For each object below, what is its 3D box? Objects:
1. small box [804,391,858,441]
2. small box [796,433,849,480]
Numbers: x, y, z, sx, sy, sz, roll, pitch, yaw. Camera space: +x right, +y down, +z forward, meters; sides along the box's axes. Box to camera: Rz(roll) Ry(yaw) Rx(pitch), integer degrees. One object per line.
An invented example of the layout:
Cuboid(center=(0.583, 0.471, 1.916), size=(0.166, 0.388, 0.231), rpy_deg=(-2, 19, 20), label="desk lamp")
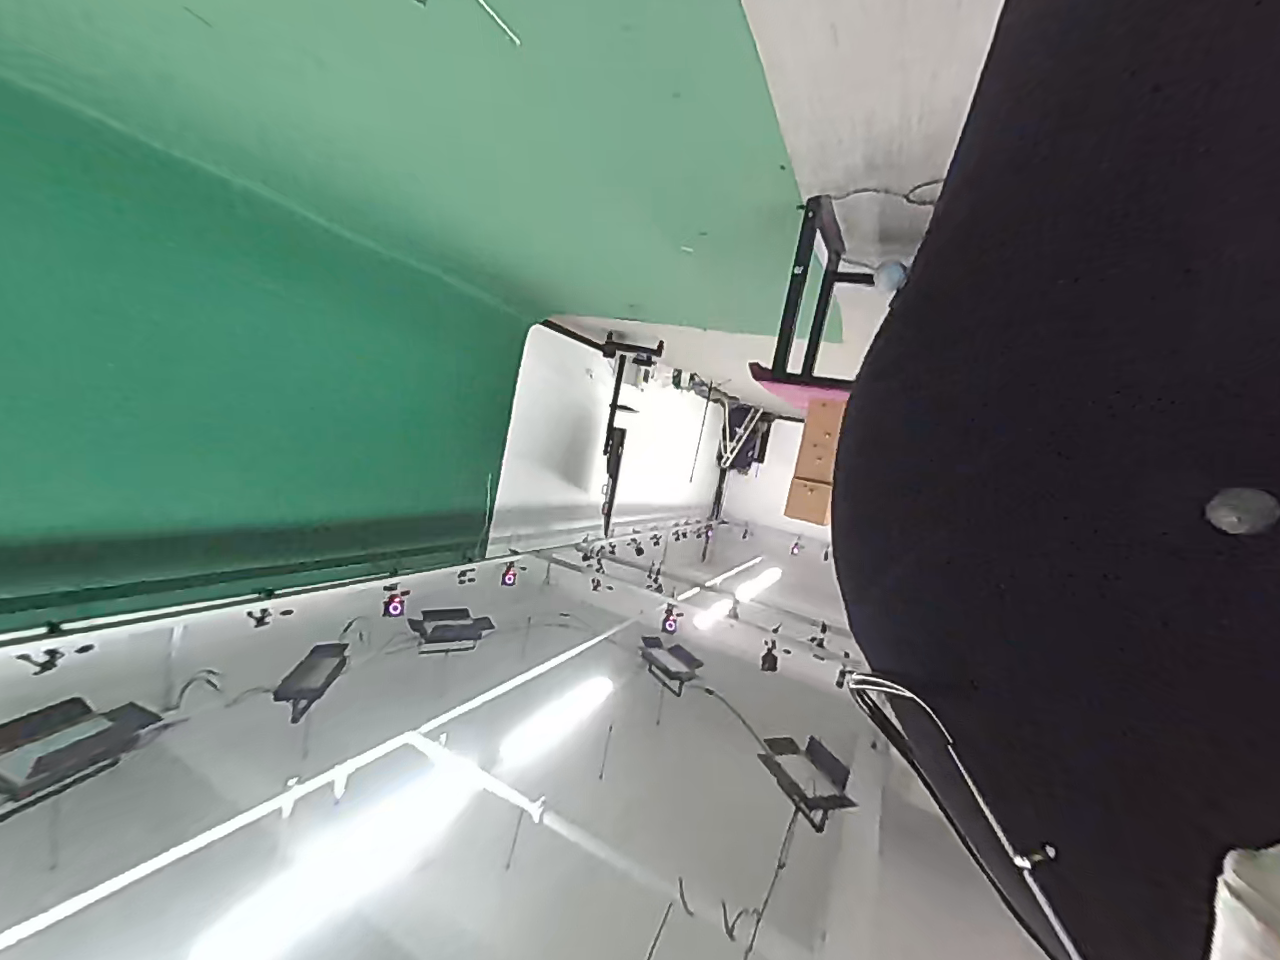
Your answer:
Cuboid(center=(0.782, -0.261, 2.208), size=(0.168, 0.176, 0.179), rpy_deg=(12, -174, 27), label="small box")
Cuboid(center=(0.752, -0.099, 2.225), size=(0.168, 0.176, 0.179), rpy_deg=(14, -174, 25), label="small box")
